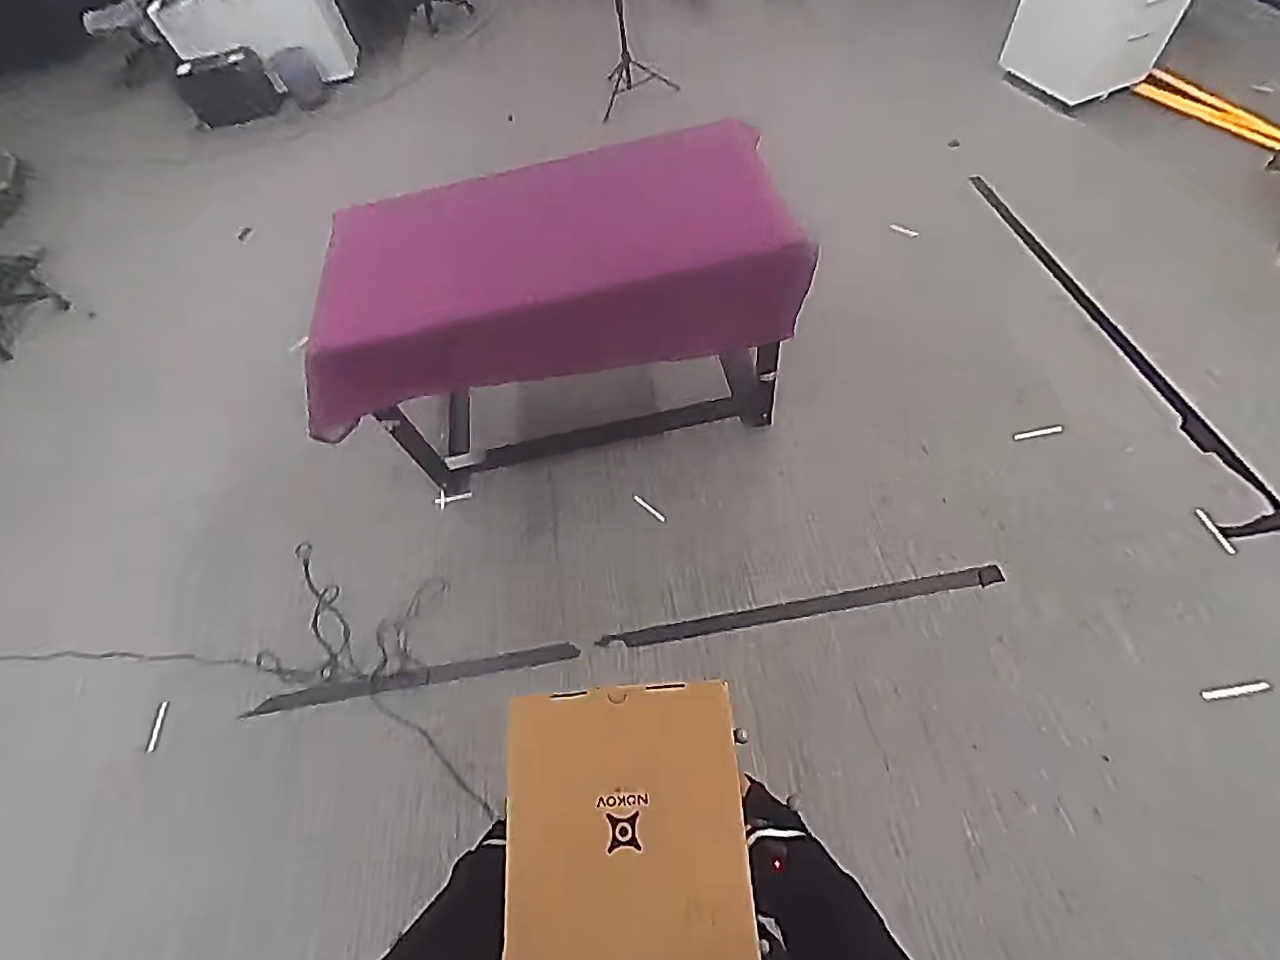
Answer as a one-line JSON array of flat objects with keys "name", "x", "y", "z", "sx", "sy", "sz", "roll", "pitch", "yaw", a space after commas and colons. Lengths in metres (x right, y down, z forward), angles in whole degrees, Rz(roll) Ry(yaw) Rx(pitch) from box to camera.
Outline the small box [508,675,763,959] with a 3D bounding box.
[{"name": "small box", "x": -0.002, "y": 0.262, "z": 0.443, "sx": 0.168, "sy": 0.176, "sz": 0.179, "roll": -5, "pitch": 66, "yaw": 2}]
